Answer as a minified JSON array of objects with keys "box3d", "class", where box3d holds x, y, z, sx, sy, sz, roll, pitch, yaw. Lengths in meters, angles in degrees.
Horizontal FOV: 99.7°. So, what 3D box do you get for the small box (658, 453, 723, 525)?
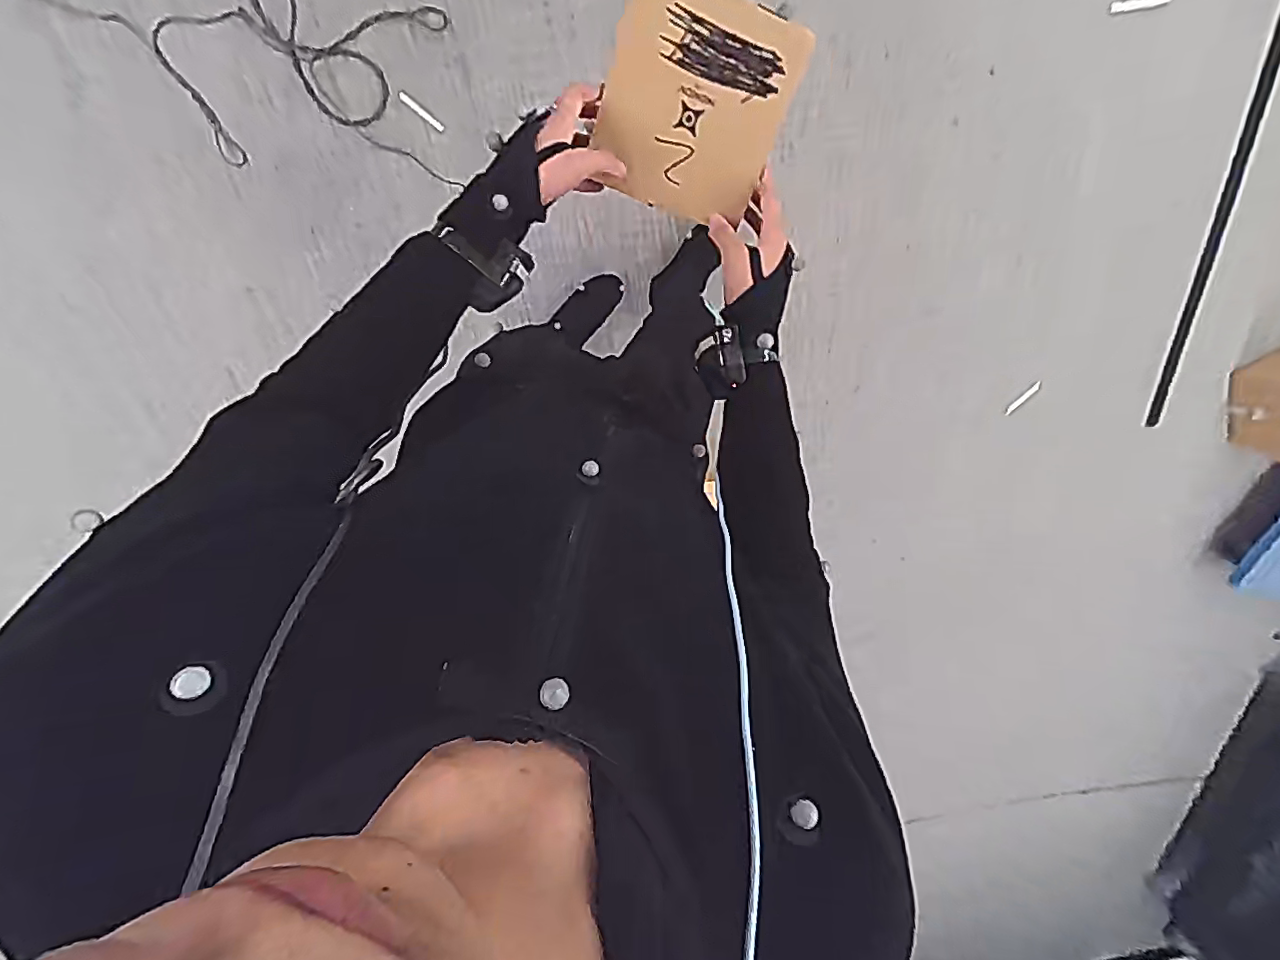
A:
[{"box3d":[0.154,0.024,1.720,0.179,0.176,0.168,-5,119,-7],"class":"small box"}]
